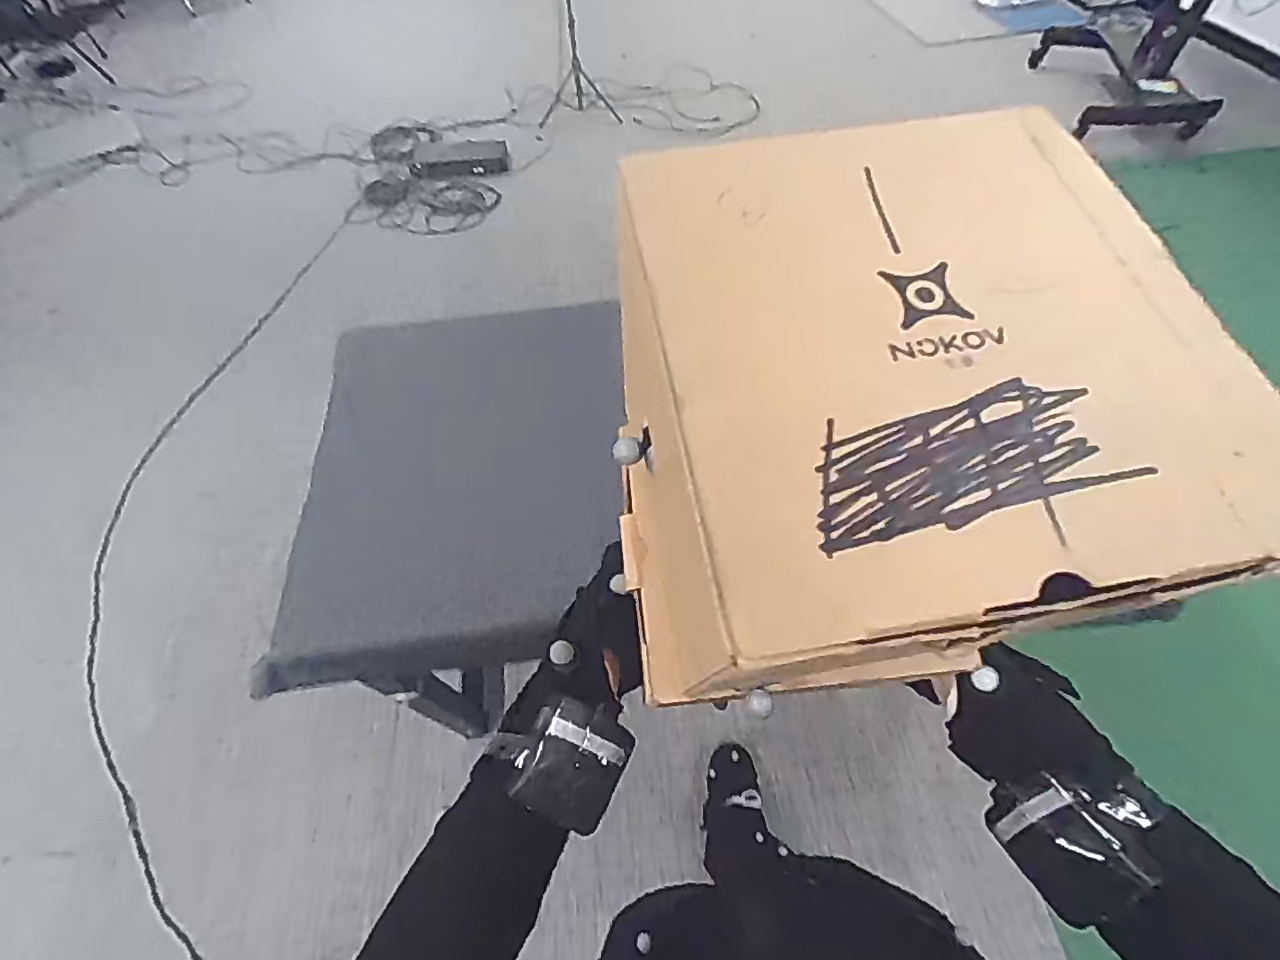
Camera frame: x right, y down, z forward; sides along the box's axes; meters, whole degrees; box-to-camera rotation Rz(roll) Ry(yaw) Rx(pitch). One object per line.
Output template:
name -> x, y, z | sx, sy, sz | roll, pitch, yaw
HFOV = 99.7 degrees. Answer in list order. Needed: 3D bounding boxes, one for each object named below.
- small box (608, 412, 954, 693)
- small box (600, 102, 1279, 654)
small box -> 0.077, 0.052, 0.395 | 0.179, 0.176, 0.168 | -8, 64, -4
small box -> 0.080, -0.025, 0.246 | 0.168, 0.176, 0.179 | -9, 66, -4
